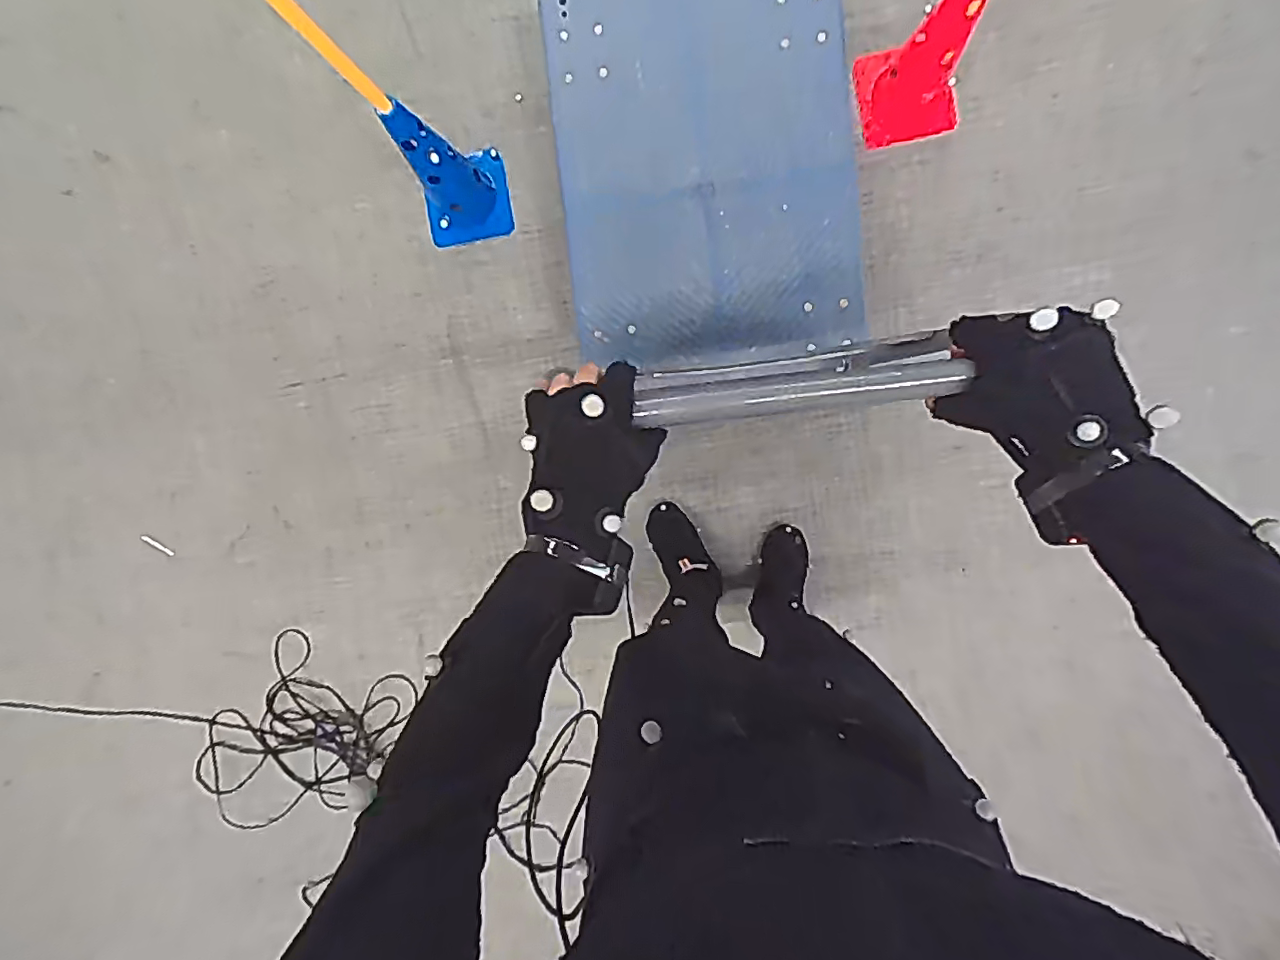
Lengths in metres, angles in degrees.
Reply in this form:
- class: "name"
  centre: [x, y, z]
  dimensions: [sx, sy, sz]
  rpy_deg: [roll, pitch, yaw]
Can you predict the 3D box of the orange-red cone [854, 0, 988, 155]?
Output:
- class: "orange-red cone"
  centre: [0.568, -0.821, 1.028]
  dimensions: [0.199, 0.360, 0.198]
  rpy_deg: [-9, 93, 7]
